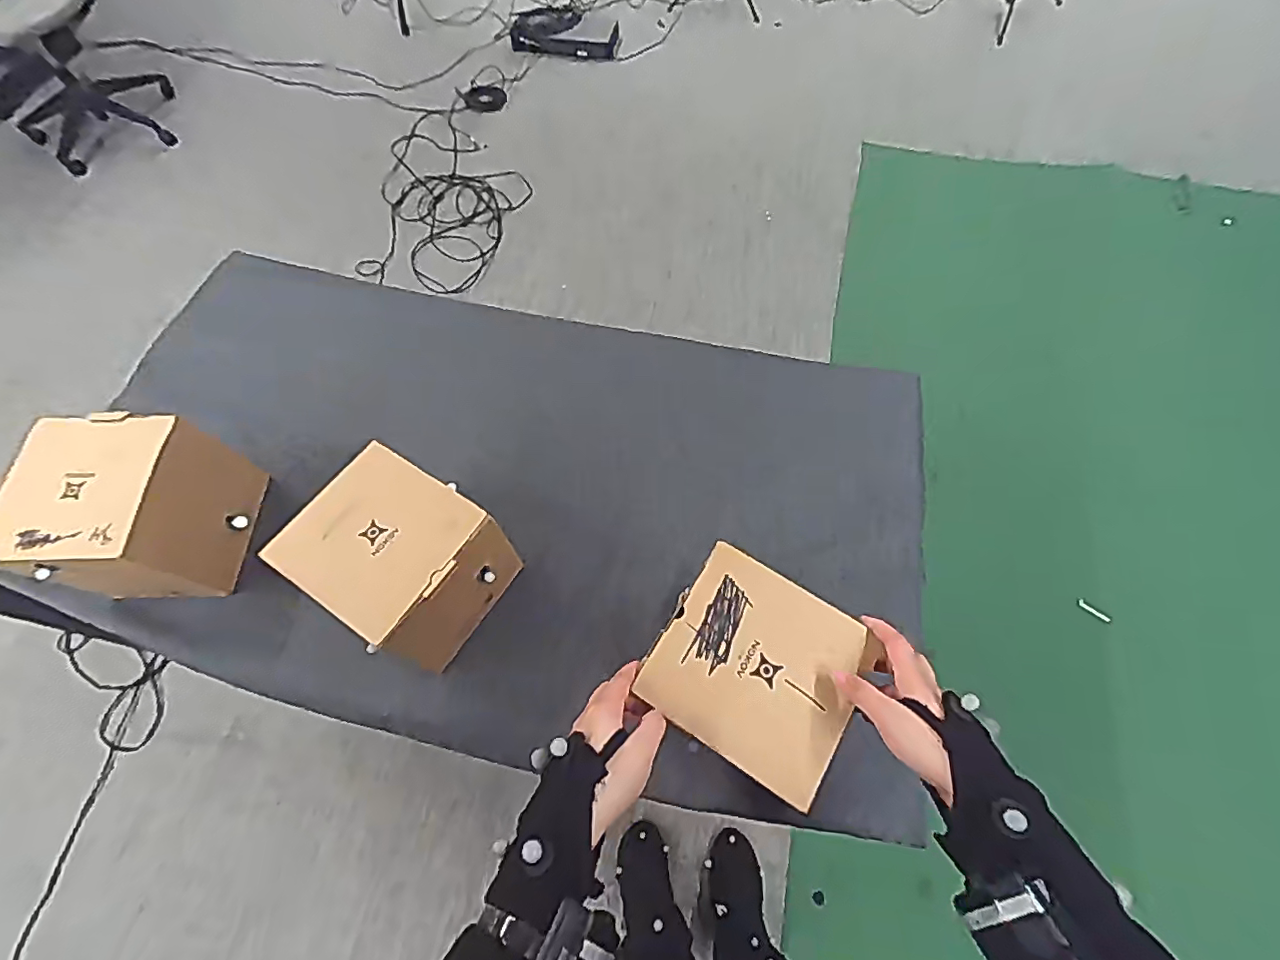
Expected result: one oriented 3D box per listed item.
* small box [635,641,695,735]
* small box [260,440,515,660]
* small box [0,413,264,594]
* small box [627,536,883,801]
[{"bbox_3d":[0.084,0.477,1.233,0.168,0.176,0.179,6,66,5],"label":"small box"},{"bbox_3d":[-0.272,0.090,0.629,0.179,0.176,0.168,28,66,16],"label":"small box"},{"bbox_3d":[-0.613,0.035,0.670,0.168,0.176,0.179,-1,65,2],"label":"small box"},{"bbox_3d":[0.106,0.189,0.554,0.179,0.176,0.168,31,72,15],"label":"small box"}]
